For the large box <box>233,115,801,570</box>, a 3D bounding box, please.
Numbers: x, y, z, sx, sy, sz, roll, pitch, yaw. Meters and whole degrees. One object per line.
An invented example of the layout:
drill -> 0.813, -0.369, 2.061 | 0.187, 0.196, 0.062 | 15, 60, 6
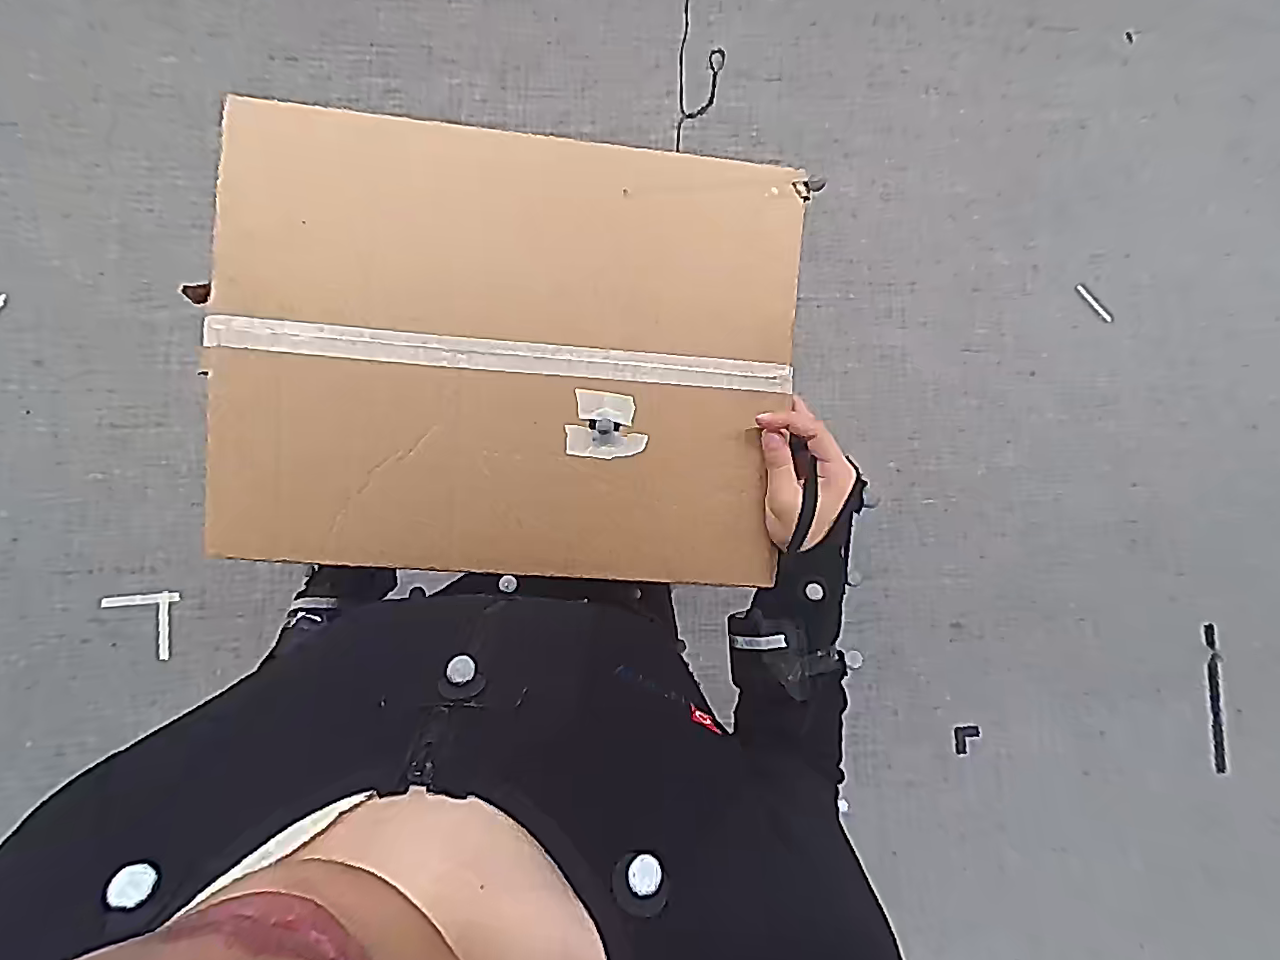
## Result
large box -> -0.098, -0.095, 0.543 | 0.408, 0.320, 0.320 | 4, 92, -6
